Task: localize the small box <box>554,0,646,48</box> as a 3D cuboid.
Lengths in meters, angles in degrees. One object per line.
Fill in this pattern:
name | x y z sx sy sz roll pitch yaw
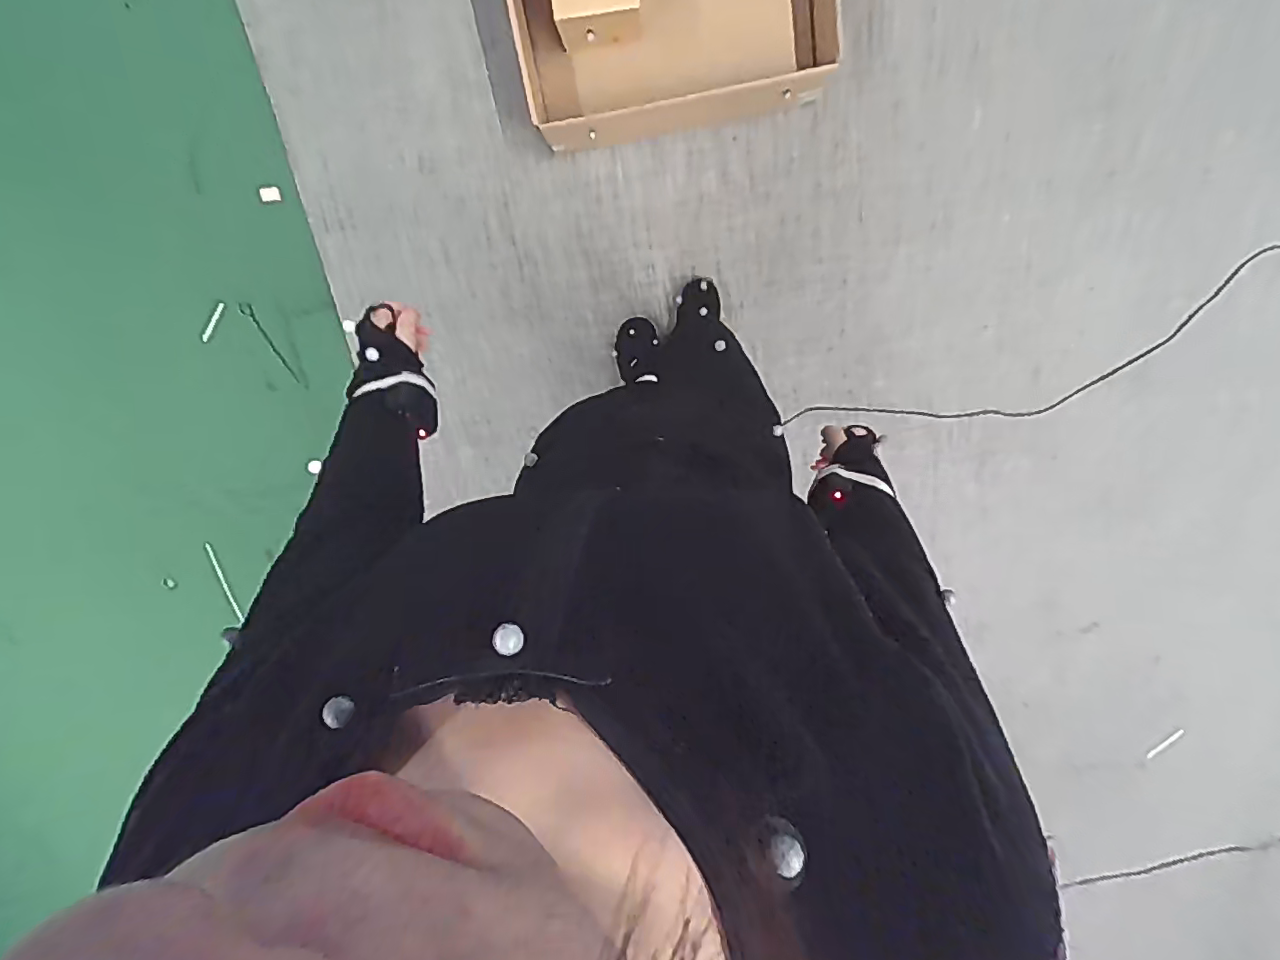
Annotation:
small box | -0.079 -0.974 1.047 0.168 0.176 0.179 -5 109 4
